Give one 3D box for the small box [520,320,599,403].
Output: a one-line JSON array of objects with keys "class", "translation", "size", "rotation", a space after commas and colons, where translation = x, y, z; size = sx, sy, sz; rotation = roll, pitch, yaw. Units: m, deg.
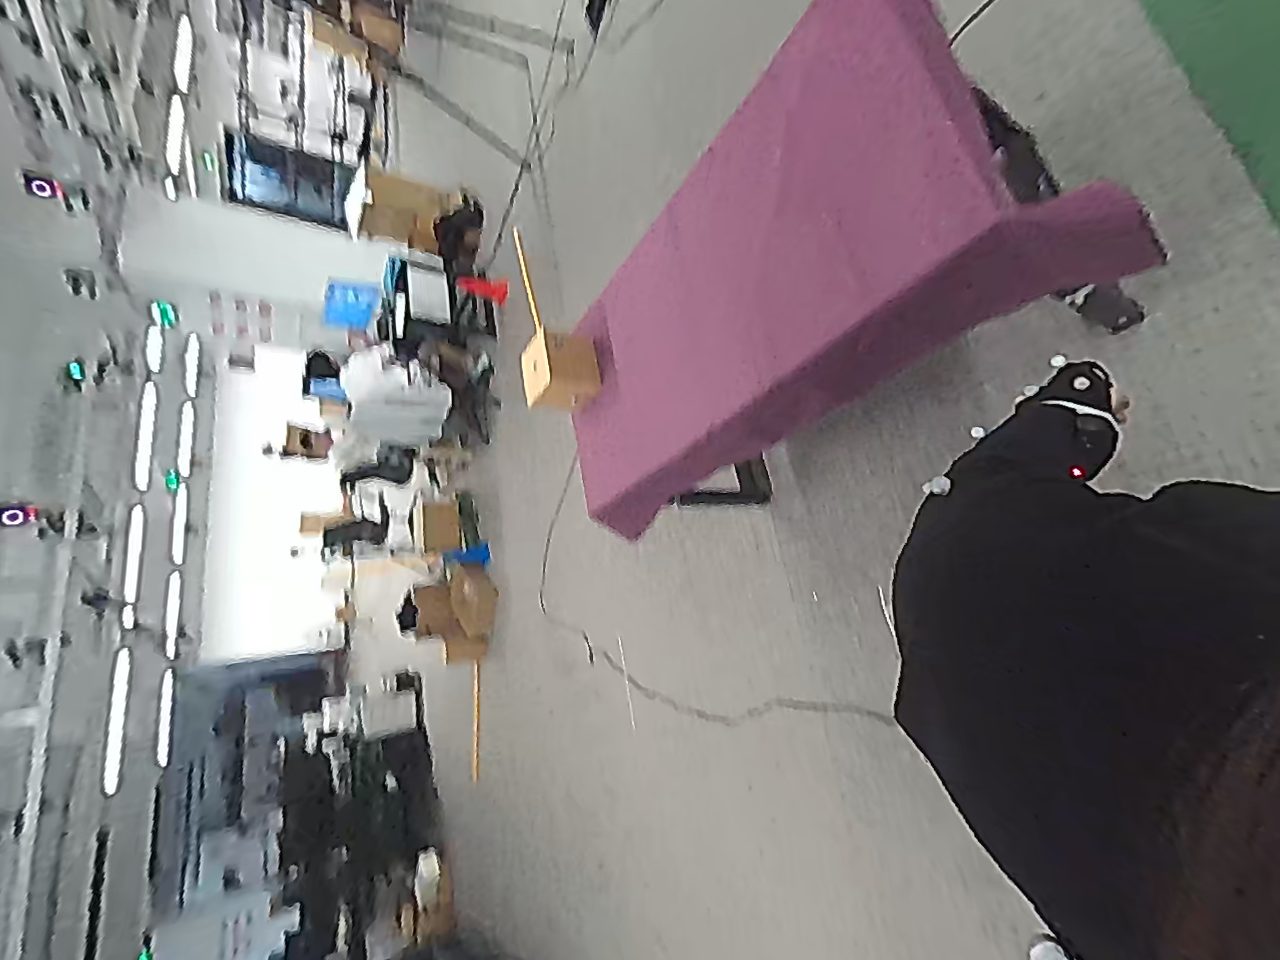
[{"class": "small box", "translation": [-0.243, -0.349, 1.629], "size": [0.168, 0.176, 0.179], "rotation": [-34, 61, 49]}]
